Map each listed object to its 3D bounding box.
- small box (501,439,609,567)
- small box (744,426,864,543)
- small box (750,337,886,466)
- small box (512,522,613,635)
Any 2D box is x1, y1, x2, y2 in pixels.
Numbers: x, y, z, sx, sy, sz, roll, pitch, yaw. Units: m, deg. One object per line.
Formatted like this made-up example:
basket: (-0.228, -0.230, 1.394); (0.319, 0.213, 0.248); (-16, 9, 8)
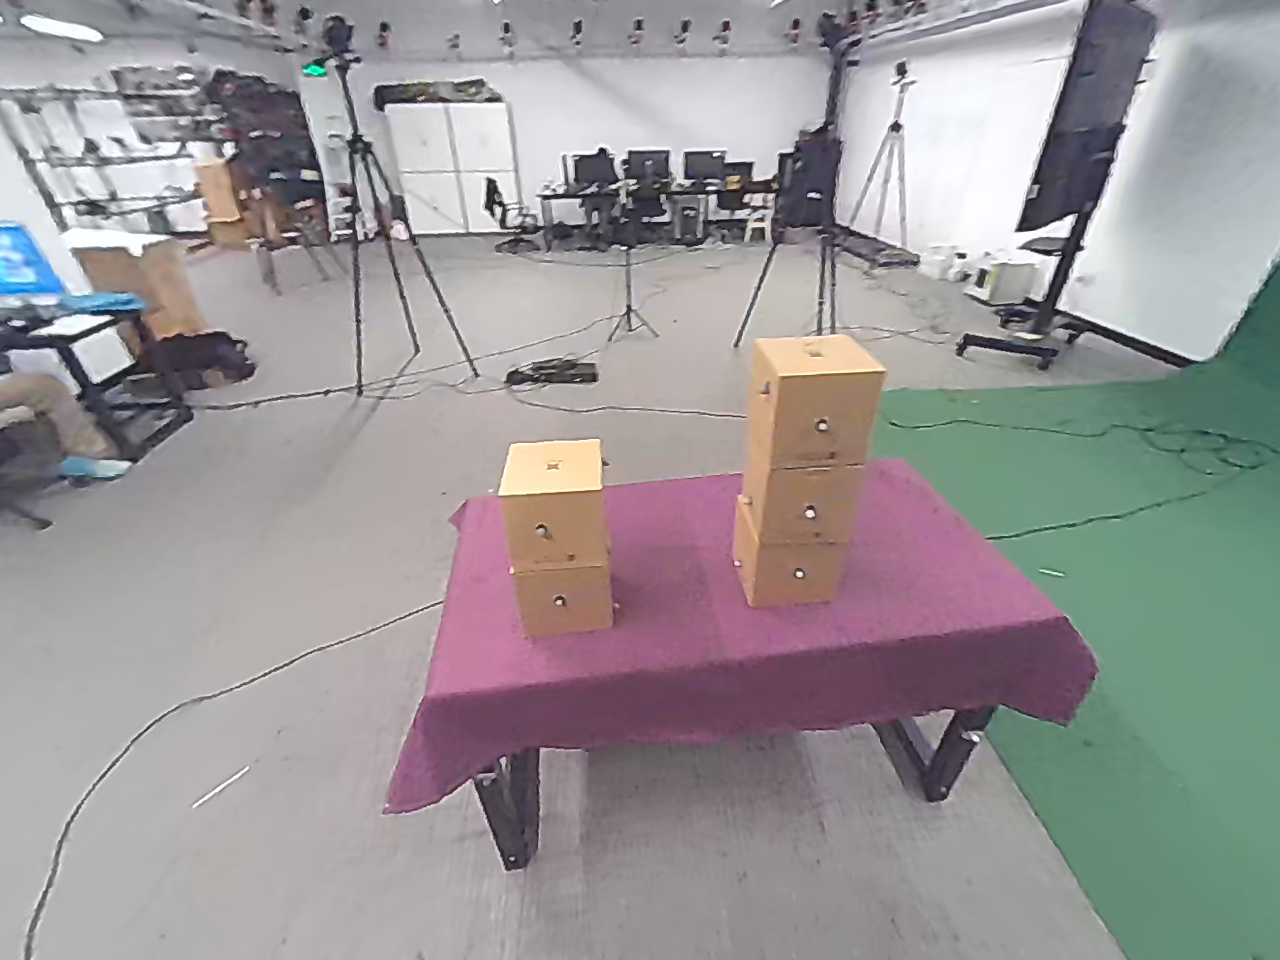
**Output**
small box: (-0.144, 0.044, 0.972); (0.168, 0.176, 0.179); (-3, 32, -3)
small box: (0.297, 0.006, 1.017); (0.168, 0.176, 0.179); (-1, 34, 0)
small box: (0.291, -0.132, 0.925); (0.168, 0.176, 0.179); (-2, 33, -1)
small box: (-0.144, 0.182, 1.059); (0.179, 0.176, 0.168); (-4, 33, -4)
